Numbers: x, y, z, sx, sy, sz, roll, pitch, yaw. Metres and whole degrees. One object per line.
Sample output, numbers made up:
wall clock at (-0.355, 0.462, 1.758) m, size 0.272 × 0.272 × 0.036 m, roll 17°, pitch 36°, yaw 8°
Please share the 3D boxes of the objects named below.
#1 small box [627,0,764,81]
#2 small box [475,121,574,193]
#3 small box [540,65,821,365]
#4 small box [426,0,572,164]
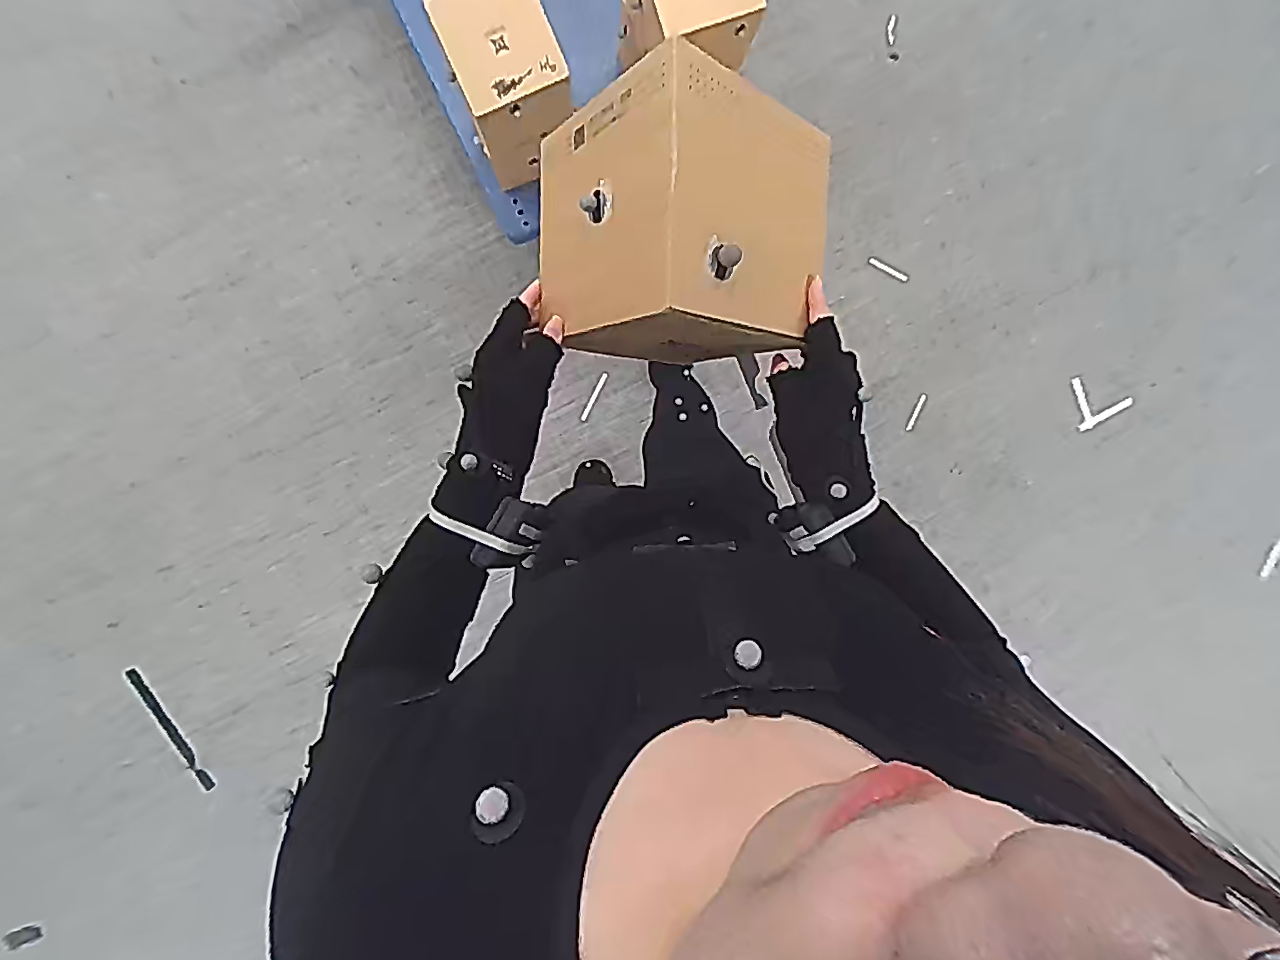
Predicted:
small box at (0.083, -0.797, 0.918) m, size 0.179 × 0.176 × 0.168 m, roll -21°, pitch 100°, yaw -3°
small box at (-0.235, -0.703, 1.067) m, size 0.179 × 0.176 × 0.168 m, roll -22°, pitch 100°, yaw -1°
small box at (0.033, -0.199, 0.453) m, size 0.179 × 0.168 × 0.176 m, roll -2°, pitch 96°, yaw -41°
small box at (-0.224, -0.676, 0.905) m, size 0.168 × 0.176 × 0.179 m, roll -24°, pitch 100°, yaw -1°
